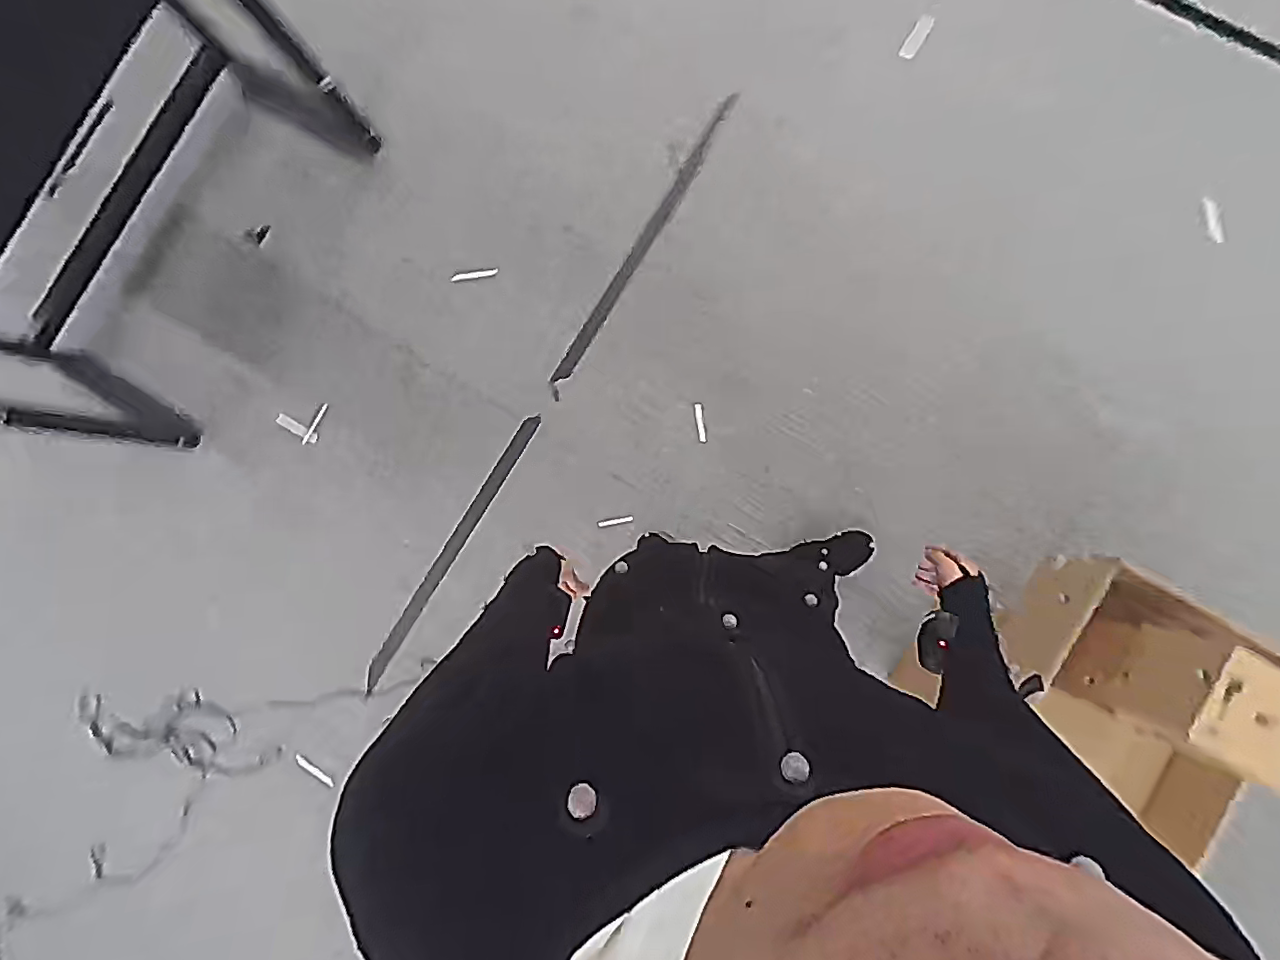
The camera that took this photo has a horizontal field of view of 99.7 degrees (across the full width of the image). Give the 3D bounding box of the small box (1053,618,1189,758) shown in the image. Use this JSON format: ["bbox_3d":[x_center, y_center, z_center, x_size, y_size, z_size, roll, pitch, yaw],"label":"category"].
[{"bbox_3d":[0.973,0.399,1.070,0.168,0.176,0.179,26,88,3],"label":"small box"}]

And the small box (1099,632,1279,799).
[{"bbox_3d":[0.949,0.378,0.909,0.179,0.176,0.168,32,88,3],"label":"small box"}]
